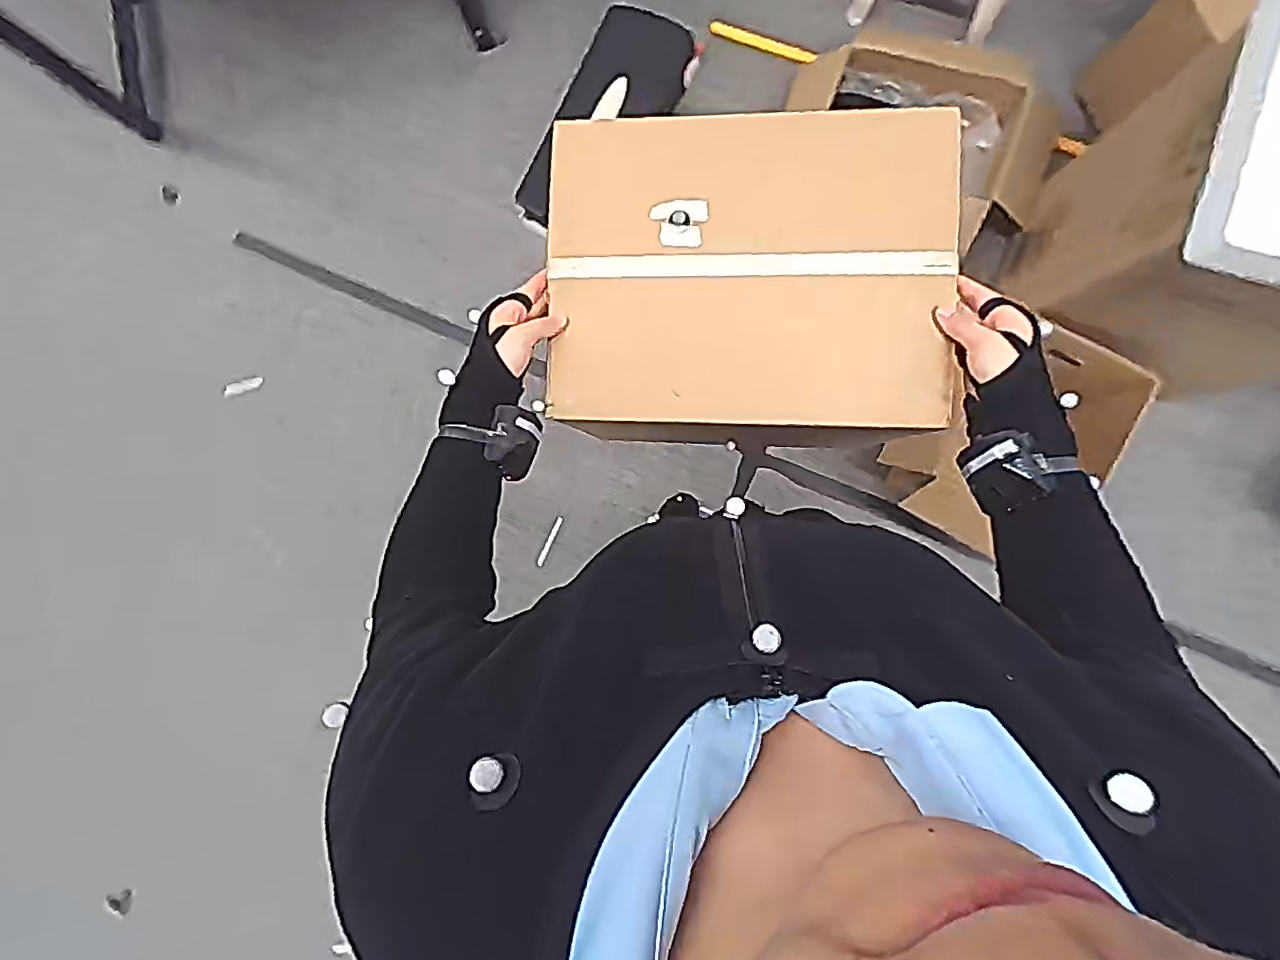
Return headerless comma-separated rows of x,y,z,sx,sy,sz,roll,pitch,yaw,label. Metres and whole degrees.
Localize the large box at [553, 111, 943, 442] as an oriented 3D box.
0.123,-0.213,0.707,0.408,0.320,0.320,0,89,7,large box
